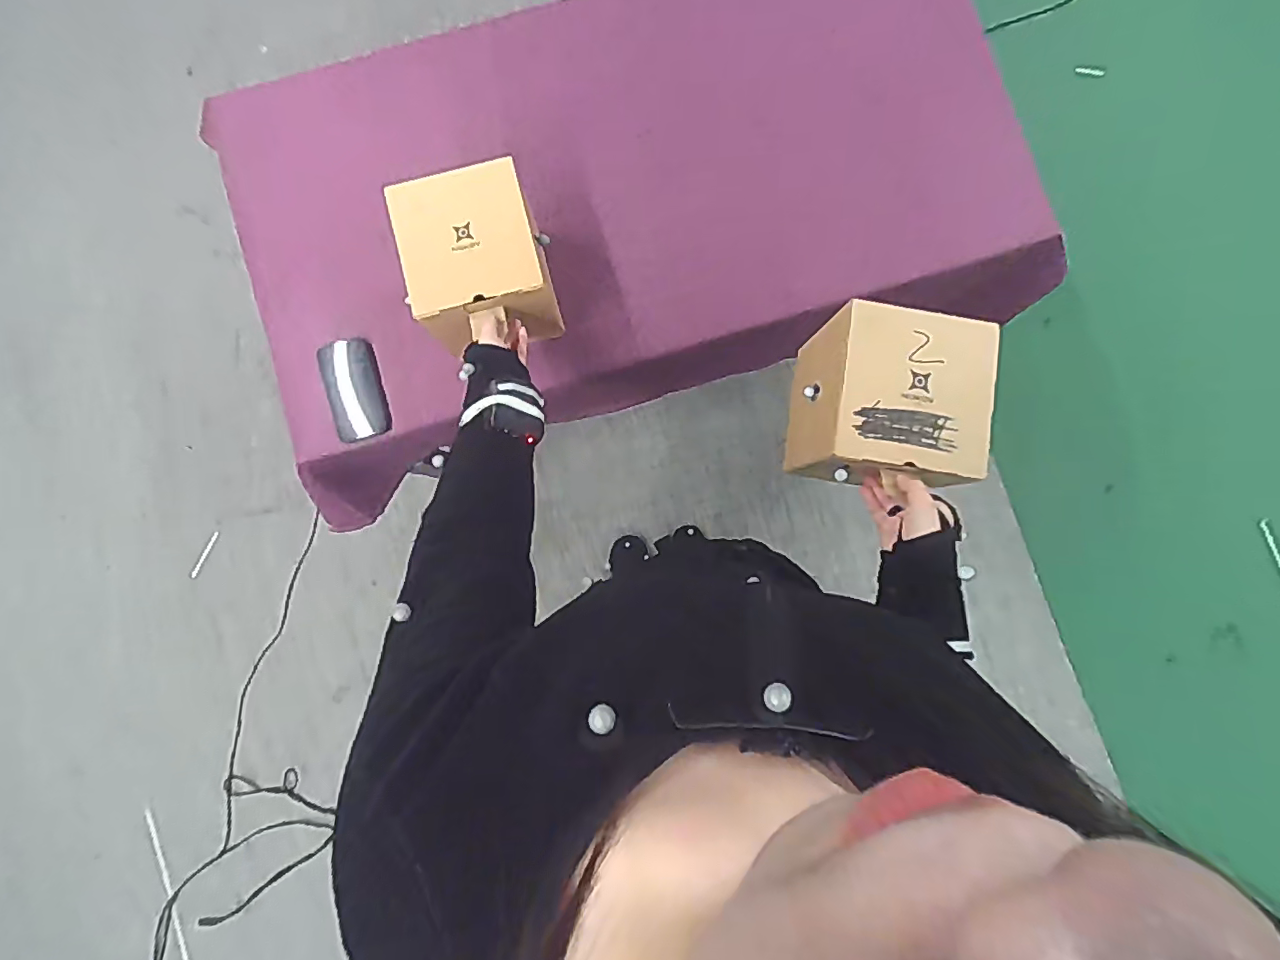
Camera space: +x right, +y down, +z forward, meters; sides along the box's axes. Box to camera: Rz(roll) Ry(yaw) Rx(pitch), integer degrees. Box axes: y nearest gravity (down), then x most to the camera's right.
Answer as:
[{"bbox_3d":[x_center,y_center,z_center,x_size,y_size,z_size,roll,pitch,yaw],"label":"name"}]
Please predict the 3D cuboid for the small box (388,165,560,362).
[{"bbox_3d":[-0.215,-0.285,0.742,0.168,0.176,0.179,-14,85,-2],"label":"small box"}]
